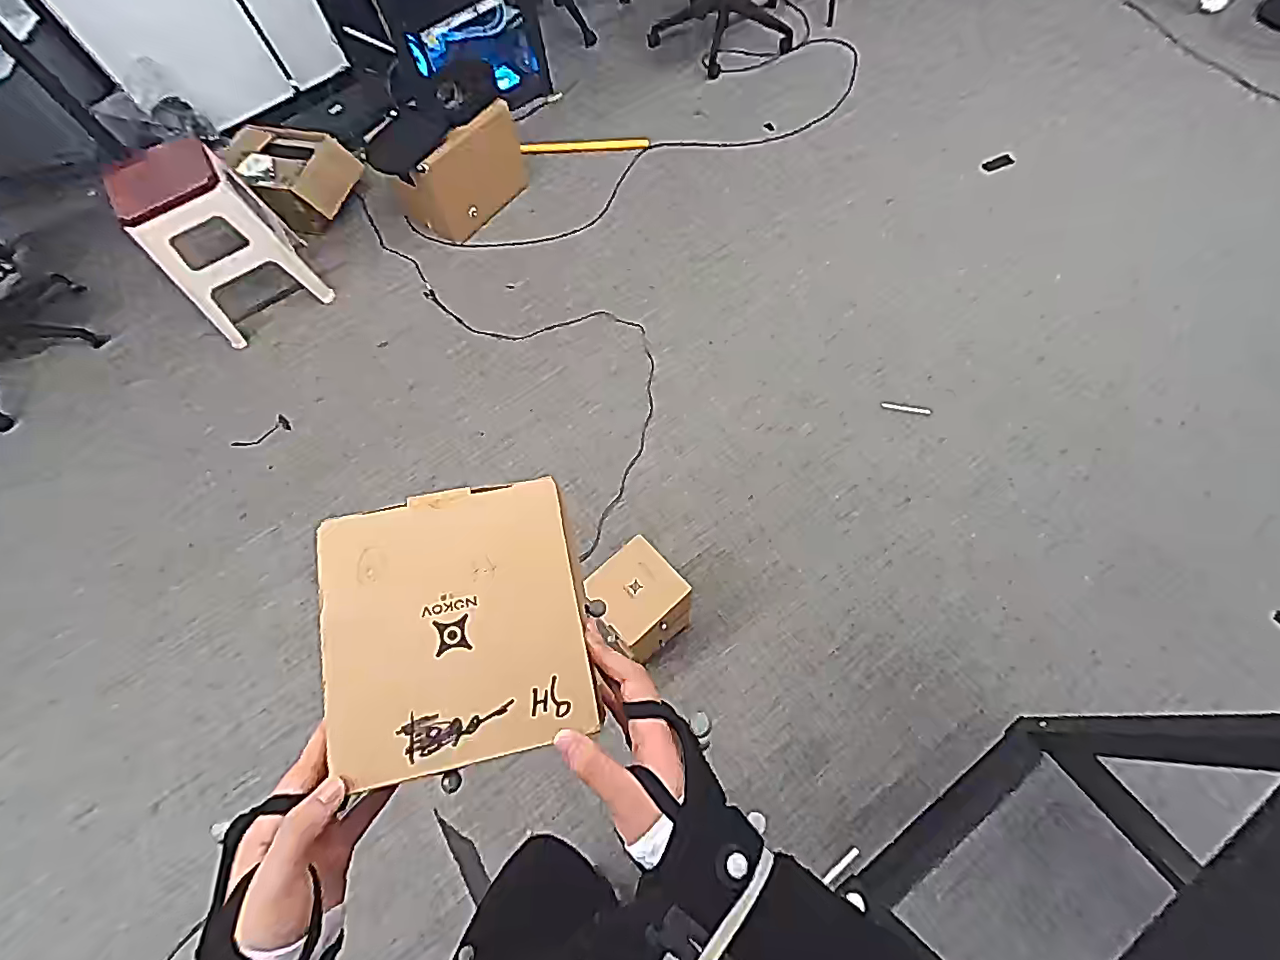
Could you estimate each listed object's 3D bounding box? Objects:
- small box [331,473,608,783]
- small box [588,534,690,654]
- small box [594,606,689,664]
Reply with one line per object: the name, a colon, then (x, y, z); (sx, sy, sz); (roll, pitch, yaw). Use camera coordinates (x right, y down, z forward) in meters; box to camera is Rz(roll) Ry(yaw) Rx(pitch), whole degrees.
small box: (-0.122, 0.115, 0.432); (0.168, 0.176, 0.179); (-11, 71, -6)
small box: (-0.007, 0.254, 1.176); (0.179, 0.176, 0.168); (-40, 69, -14)
small box: (0.003, 0.326, 1.321); (0.179, 0.176, 0.168); (-38, 68, -11)
